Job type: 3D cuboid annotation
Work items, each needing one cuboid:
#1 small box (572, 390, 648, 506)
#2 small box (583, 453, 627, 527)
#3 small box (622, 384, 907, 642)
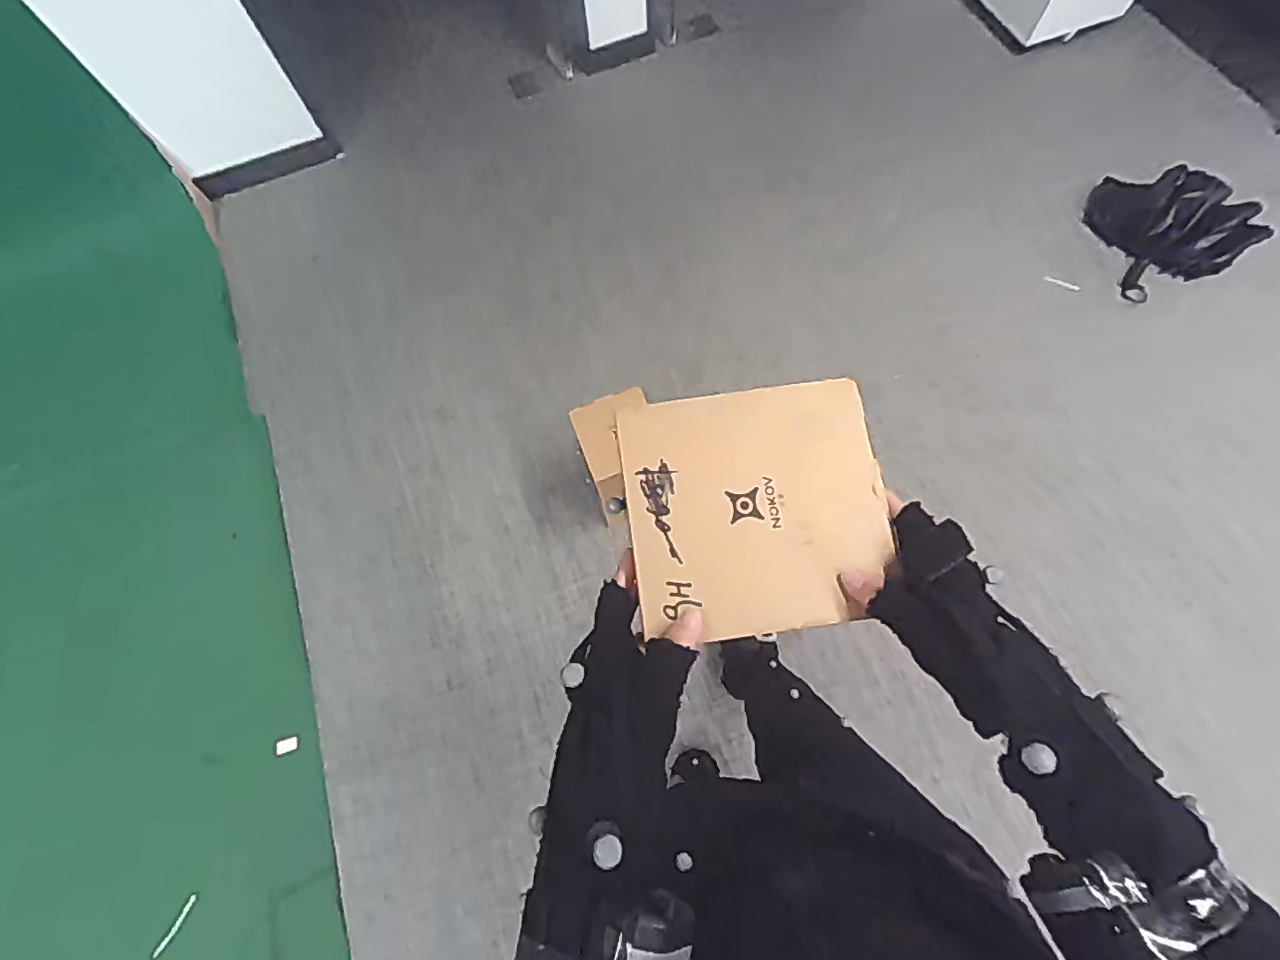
[{"bbox_3d":[-0.038,-0.065,1.208,0.168,0.176,0.179,-22,71,-4],"label":"small box"},{"bbox_3d":[-0.027,0.004,1.372,0.179,0.176,0.168,-20,70,-5],"label":"small box"},{"bbox_3d":[0.079,0.038,0.447,0.179,0.176,0.168,-7,74,-2],"label":"small box"}]
